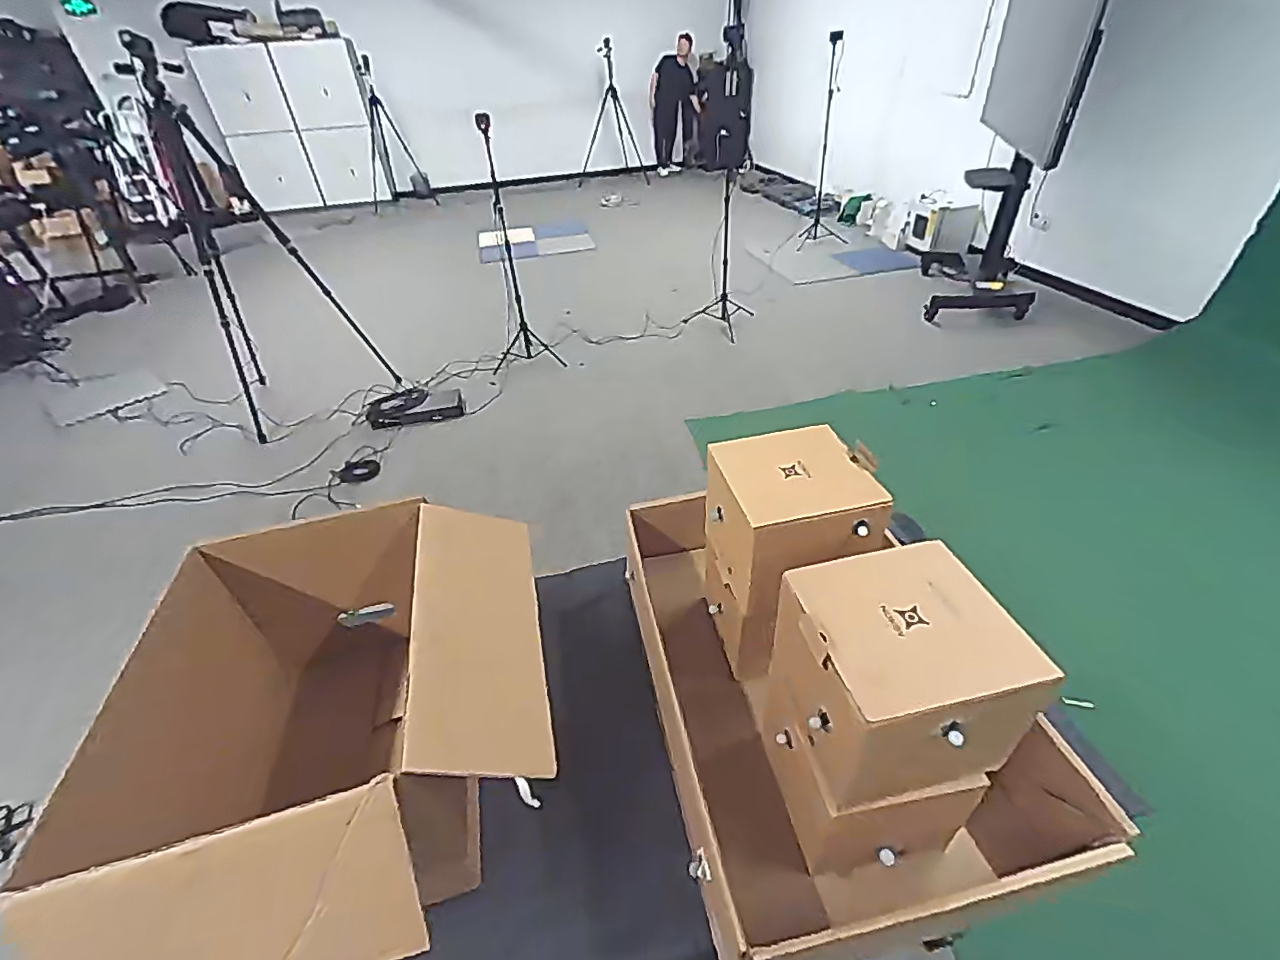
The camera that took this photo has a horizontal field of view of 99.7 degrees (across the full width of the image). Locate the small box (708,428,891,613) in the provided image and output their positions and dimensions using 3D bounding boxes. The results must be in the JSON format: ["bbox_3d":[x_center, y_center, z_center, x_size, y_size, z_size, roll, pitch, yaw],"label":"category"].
[{"bbox_3d":[0.196,0.055,0.722,0.179,0.176,0.168,-10,41,-7],"label":"small box"}]

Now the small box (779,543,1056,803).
[{"bbox_3d":[0.249,0.192,0.541,0.179,0.176,0.168,-10,39,-7],"label":"small box"}]
